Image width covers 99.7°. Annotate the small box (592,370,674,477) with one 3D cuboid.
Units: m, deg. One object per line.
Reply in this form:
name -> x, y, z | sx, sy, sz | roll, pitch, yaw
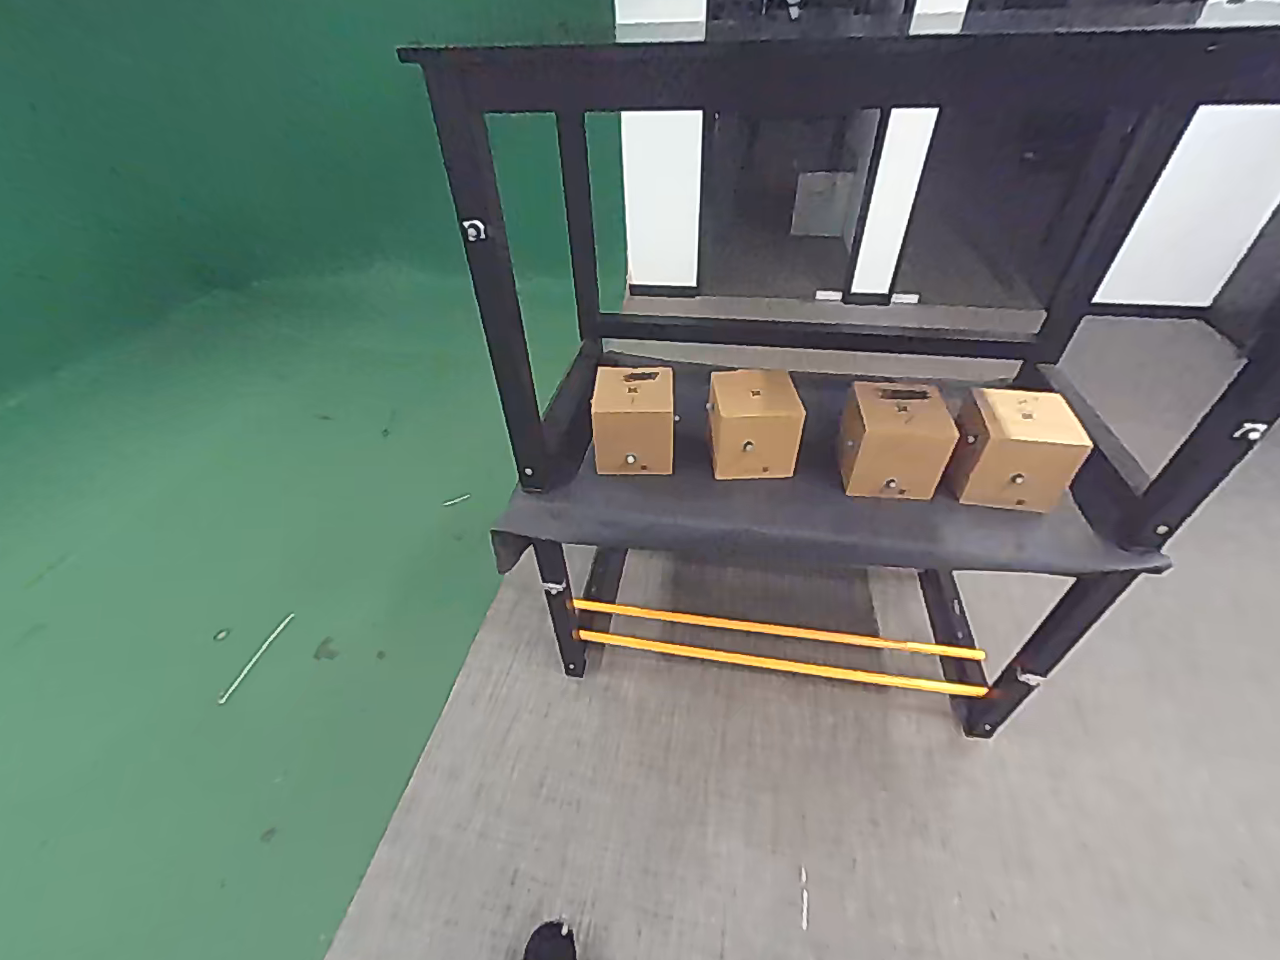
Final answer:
small box -> -0.010, -0.125, 1.183 | 0.168, 0.176, 0.179 | 0, 42, 3
